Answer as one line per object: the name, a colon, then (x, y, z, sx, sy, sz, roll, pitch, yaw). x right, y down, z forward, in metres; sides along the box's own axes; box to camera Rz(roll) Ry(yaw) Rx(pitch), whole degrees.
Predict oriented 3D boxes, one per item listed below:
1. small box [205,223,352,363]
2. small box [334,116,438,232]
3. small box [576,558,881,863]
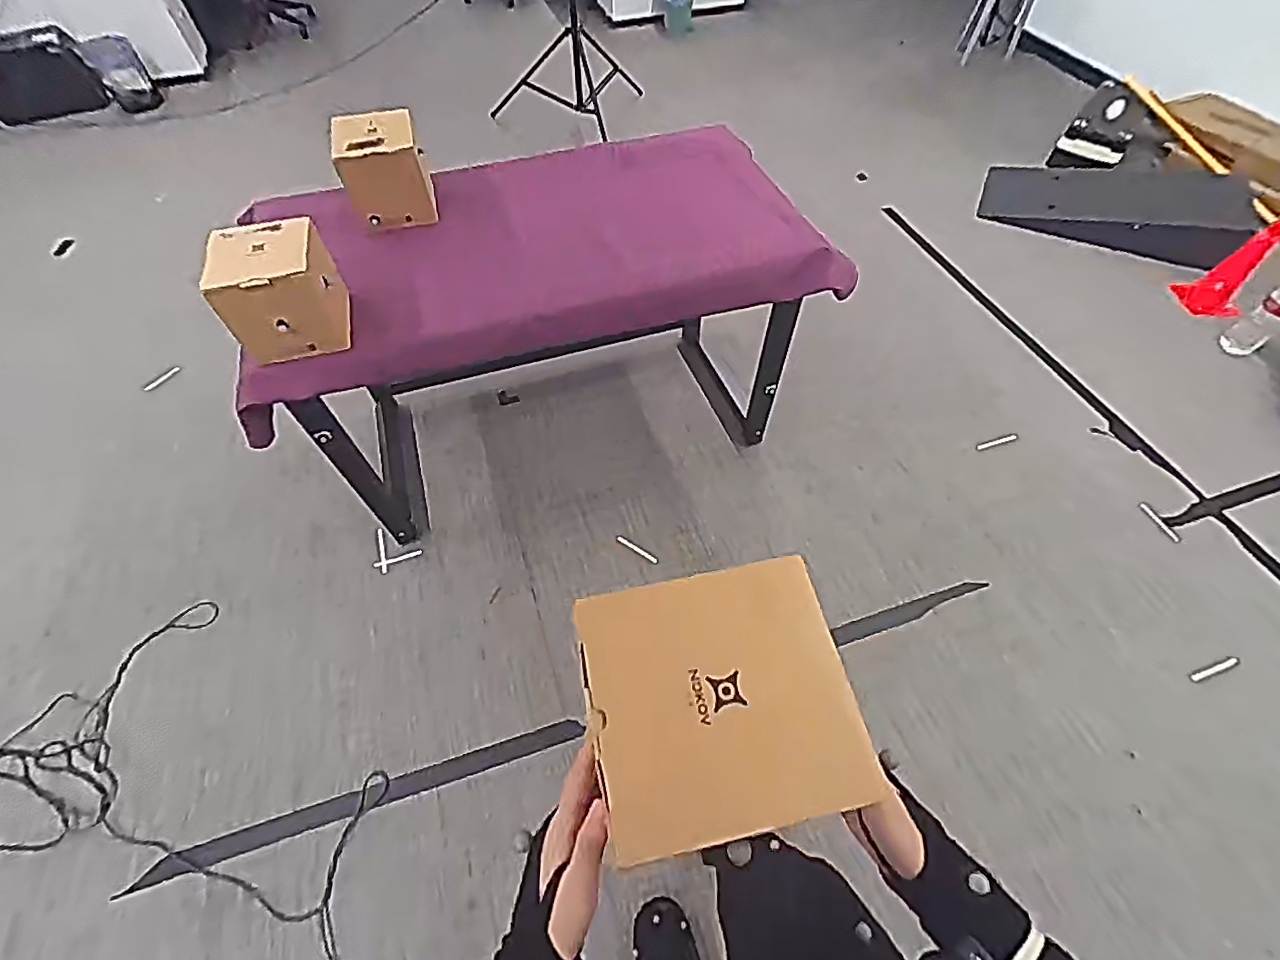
small box: (-0.647, -0.333, 0.991, 0.168, 0.176, 0.179, -14, 58, -10)
small box: (-0.566, -0.681, 1.220, 0.168, 0.176, 0.179, -14, 58, -9)
small box: (0.053, 0.180, 0.437, 0.179, 0.176, 0.168, -11, 63, -5)
